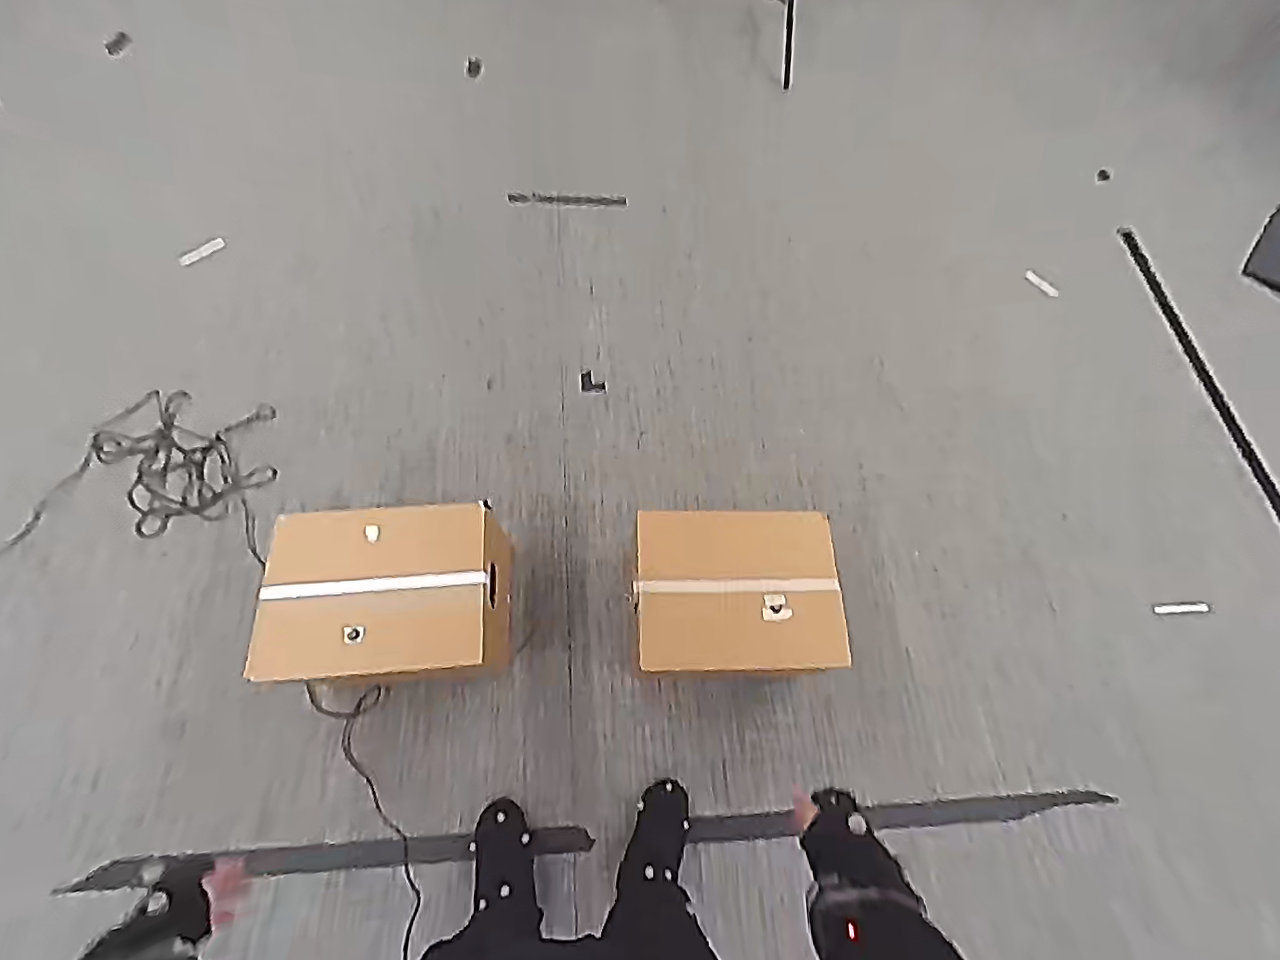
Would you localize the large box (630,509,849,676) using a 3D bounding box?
[{"bbox_3d":[0.189,0.263,1.213,0.408,0.320,0.320,1,68,-5],"label":"large box"}]
